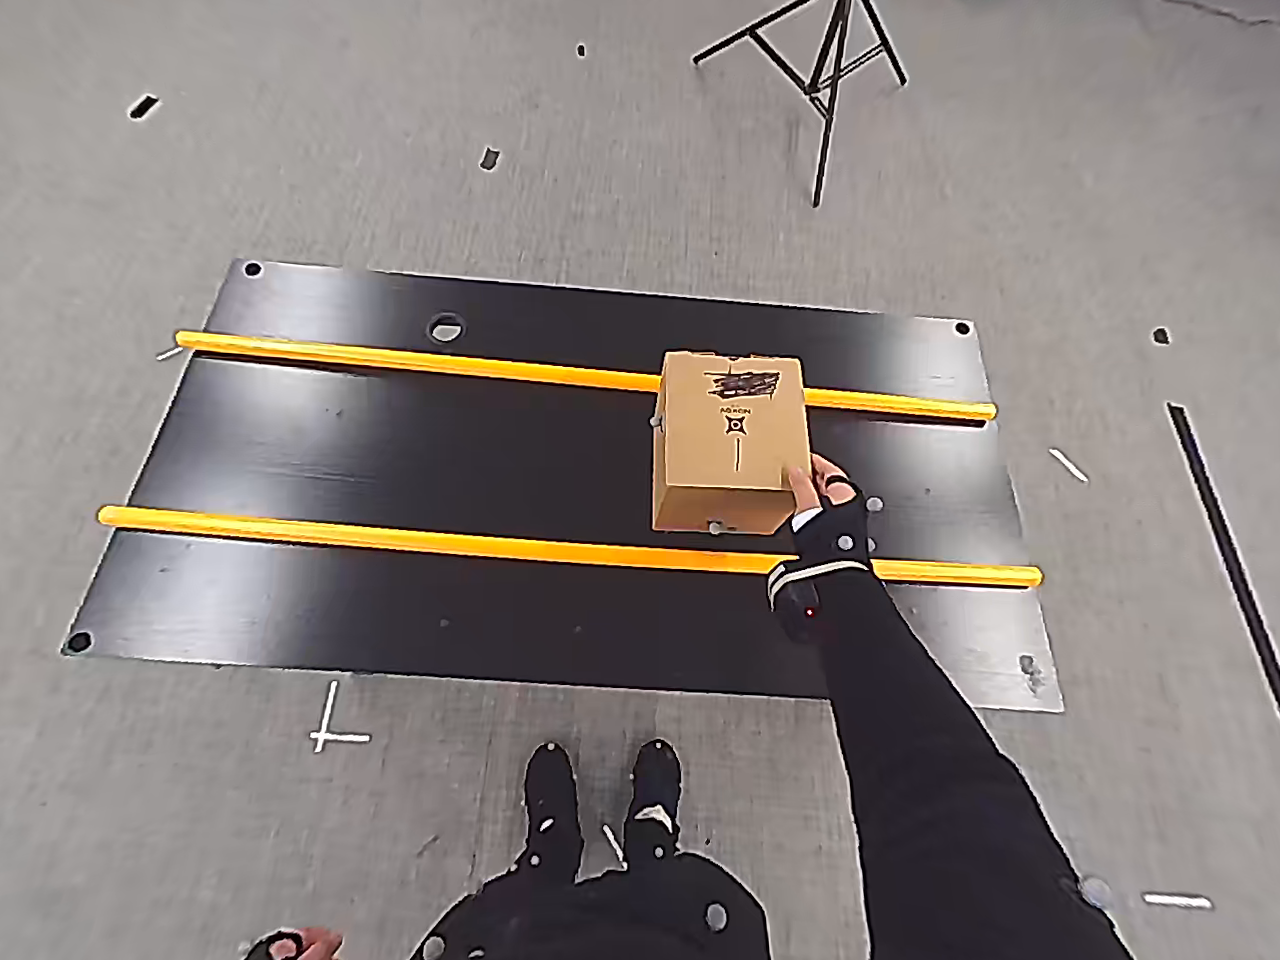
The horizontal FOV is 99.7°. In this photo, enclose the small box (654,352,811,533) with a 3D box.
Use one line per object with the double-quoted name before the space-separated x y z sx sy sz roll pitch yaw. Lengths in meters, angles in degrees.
"small box" 0.106 -0.042 0.702 0.168 0.176 0.179 2 68 -2
